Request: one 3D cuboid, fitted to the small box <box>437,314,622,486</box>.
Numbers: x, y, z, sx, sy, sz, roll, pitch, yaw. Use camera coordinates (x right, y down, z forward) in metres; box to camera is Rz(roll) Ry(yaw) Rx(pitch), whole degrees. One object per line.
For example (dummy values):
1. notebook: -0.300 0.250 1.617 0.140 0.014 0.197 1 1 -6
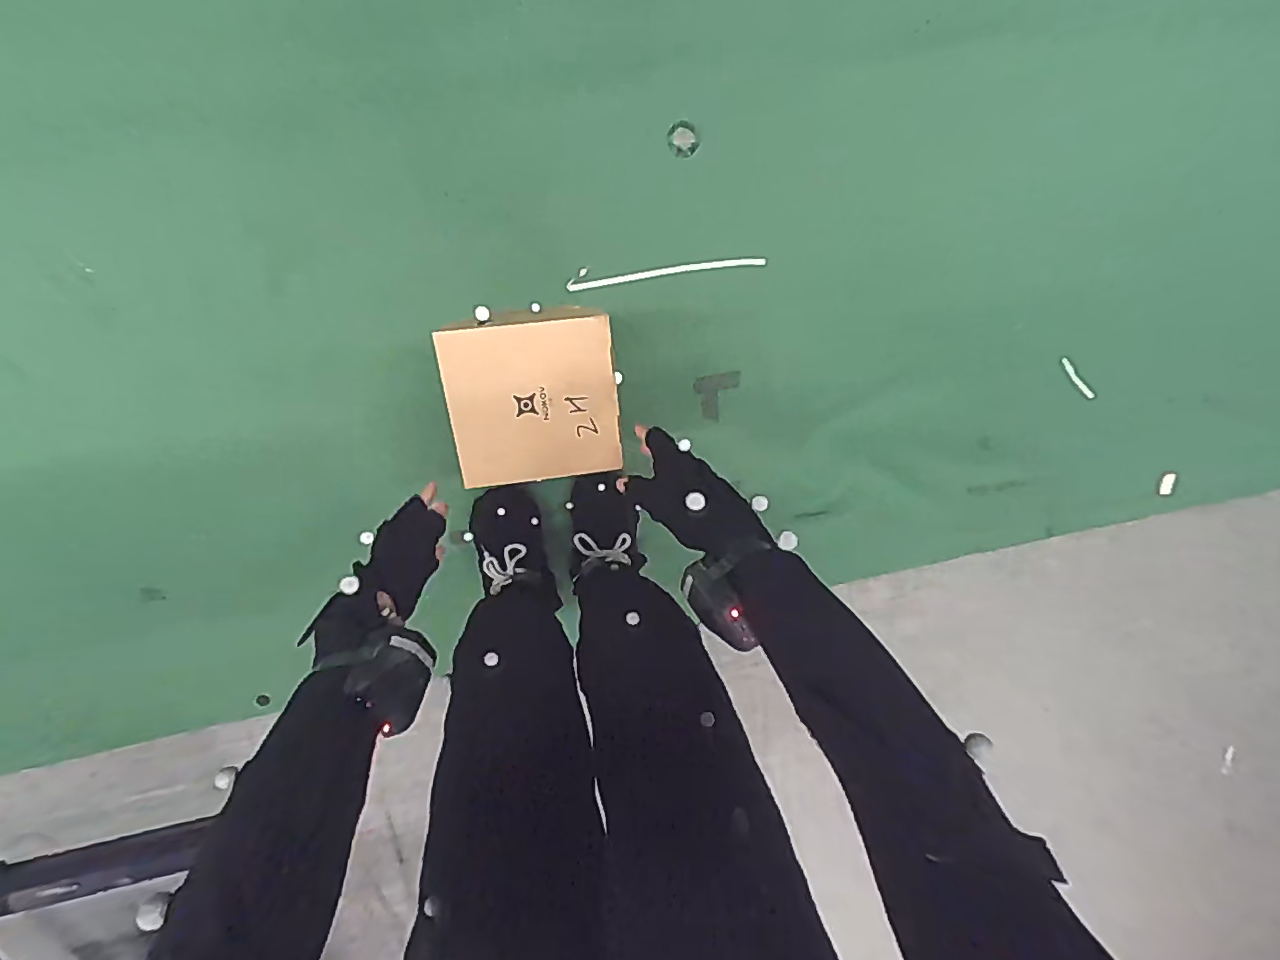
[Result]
1. small box: -0.122 -0.104 0.642 0.179 0.176 0.168 -8 111 -7
